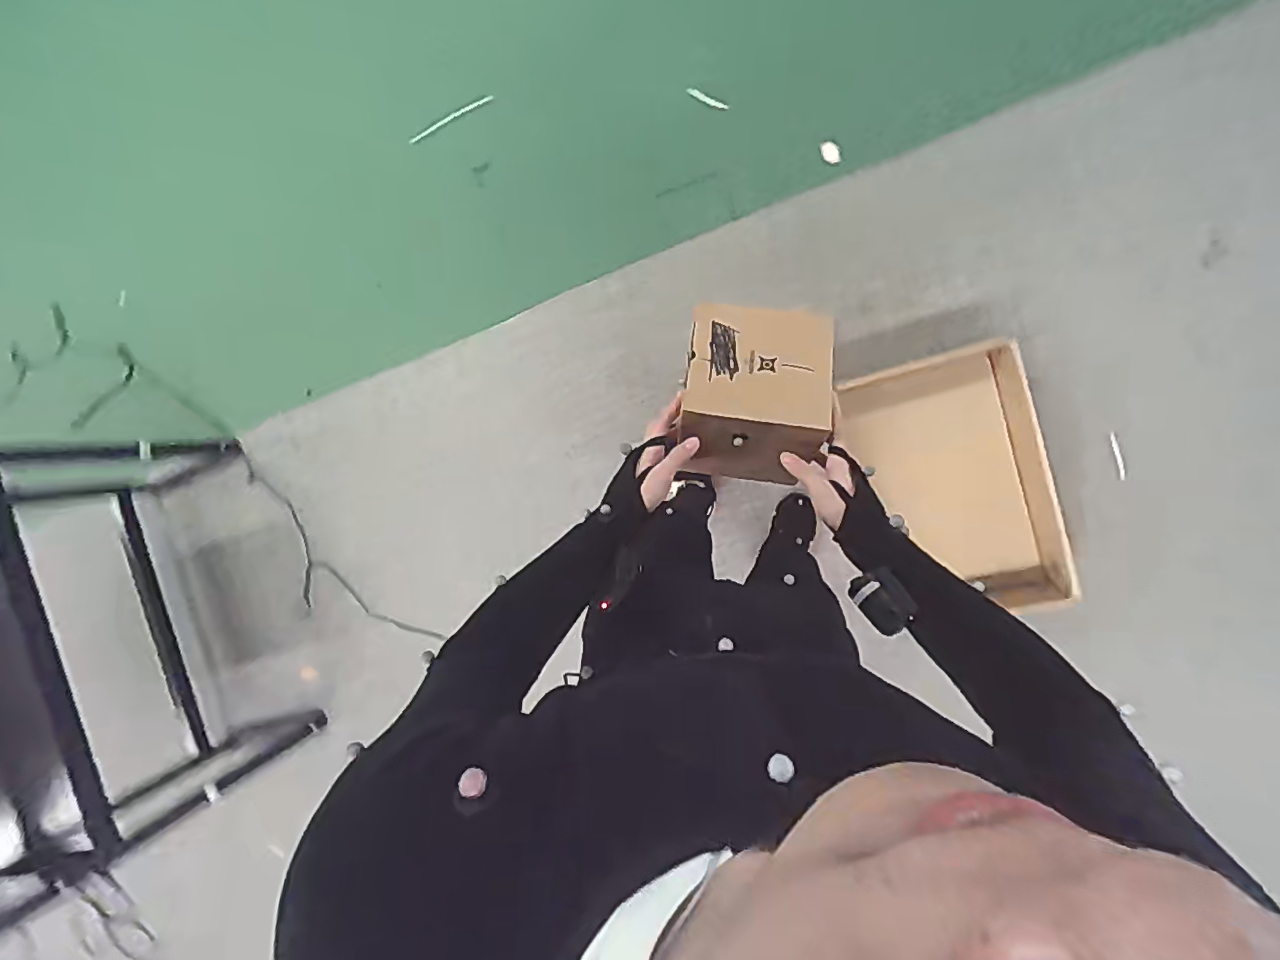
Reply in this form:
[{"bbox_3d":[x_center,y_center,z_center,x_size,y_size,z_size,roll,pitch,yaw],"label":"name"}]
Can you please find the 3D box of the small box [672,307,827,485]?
[{"bbox_3d":[0.139,-0.105,0.724,0.179,0.176,0.168,7,67,4],"label":"small box"}]
